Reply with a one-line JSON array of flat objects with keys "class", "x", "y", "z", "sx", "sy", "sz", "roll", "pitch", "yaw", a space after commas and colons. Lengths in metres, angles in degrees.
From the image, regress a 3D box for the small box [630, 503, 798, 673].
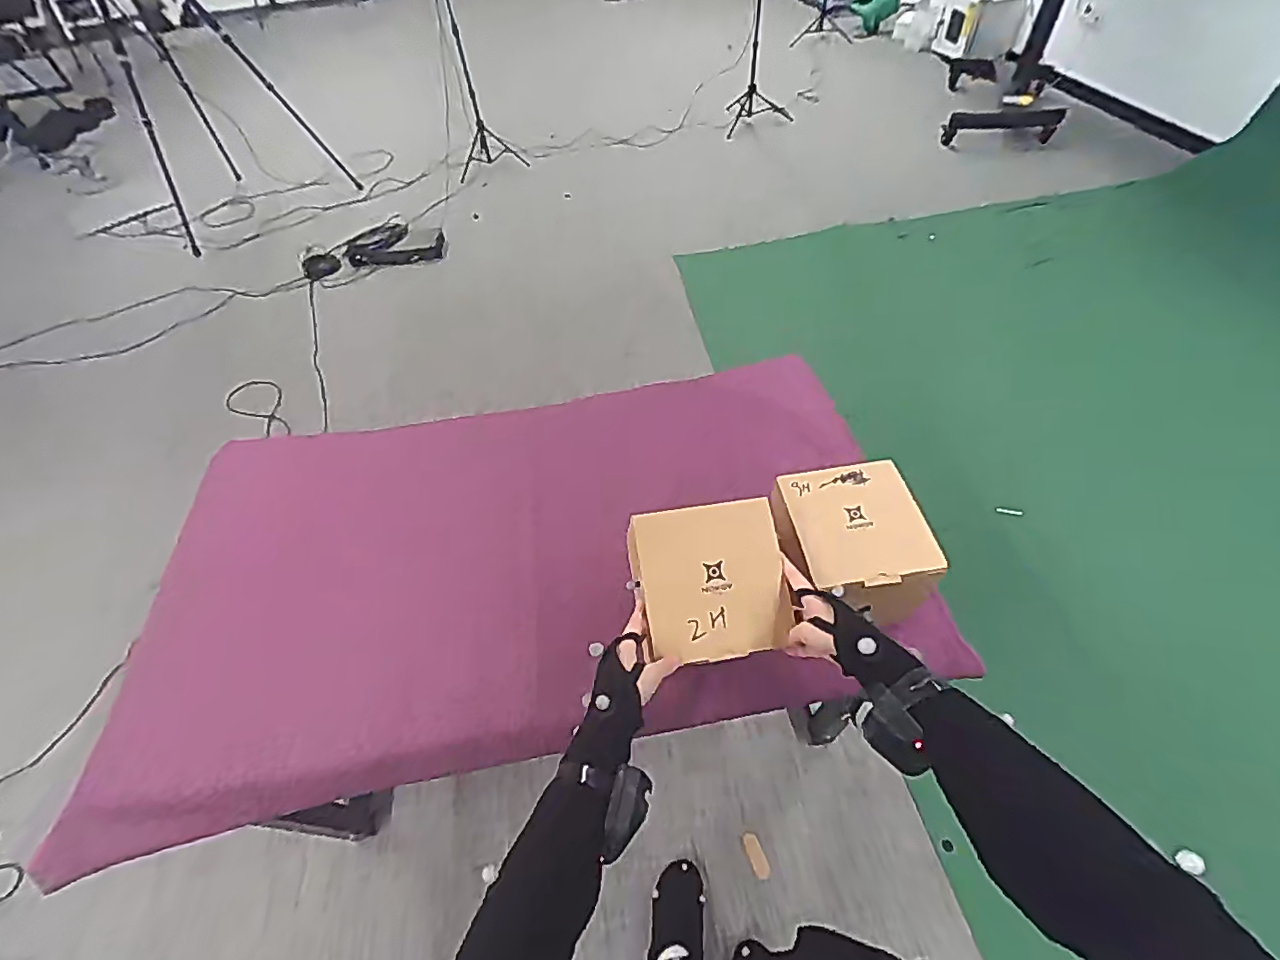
[{"class": "small box", "x": 0.080, "y": 0.139, "z": 0.688, "sx": 0.168, "sy": 0.176, "sz": 0.179, "roll": -7, "pitch": 76, "yaw": -4}]
